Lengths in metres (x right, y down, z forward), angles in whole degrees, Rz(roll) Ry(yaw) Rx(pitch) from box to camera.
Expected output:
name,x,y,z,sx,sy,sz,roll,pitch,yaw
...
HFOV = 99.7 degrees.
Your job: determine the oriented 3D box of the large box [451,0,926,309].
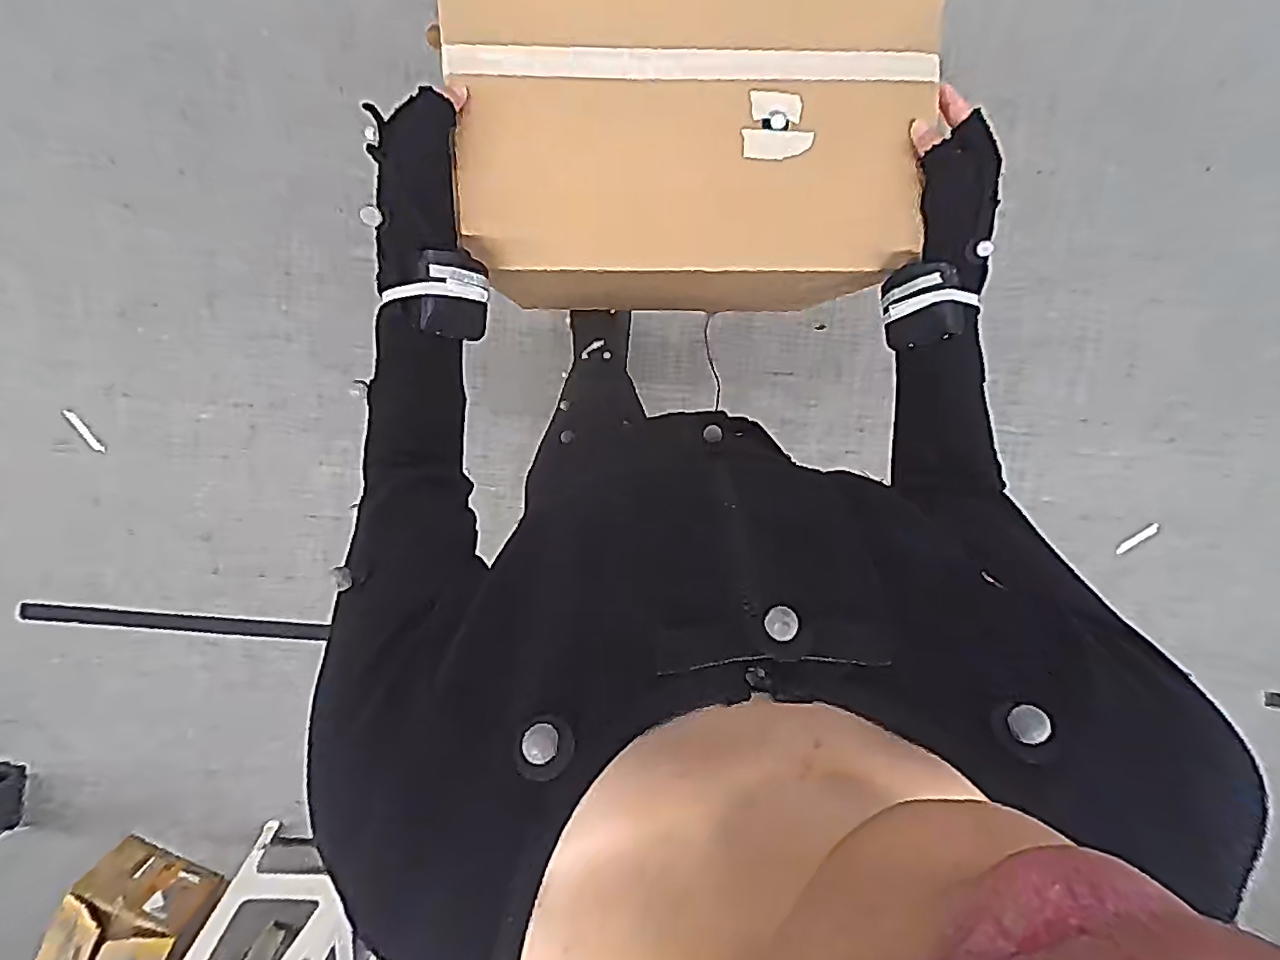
name,x,y,z,sx,sy,sz,roll,pitch,yaw
large box,0.034,-0.373,0.605,0.408,0.320,0.320,-1,102,-3
